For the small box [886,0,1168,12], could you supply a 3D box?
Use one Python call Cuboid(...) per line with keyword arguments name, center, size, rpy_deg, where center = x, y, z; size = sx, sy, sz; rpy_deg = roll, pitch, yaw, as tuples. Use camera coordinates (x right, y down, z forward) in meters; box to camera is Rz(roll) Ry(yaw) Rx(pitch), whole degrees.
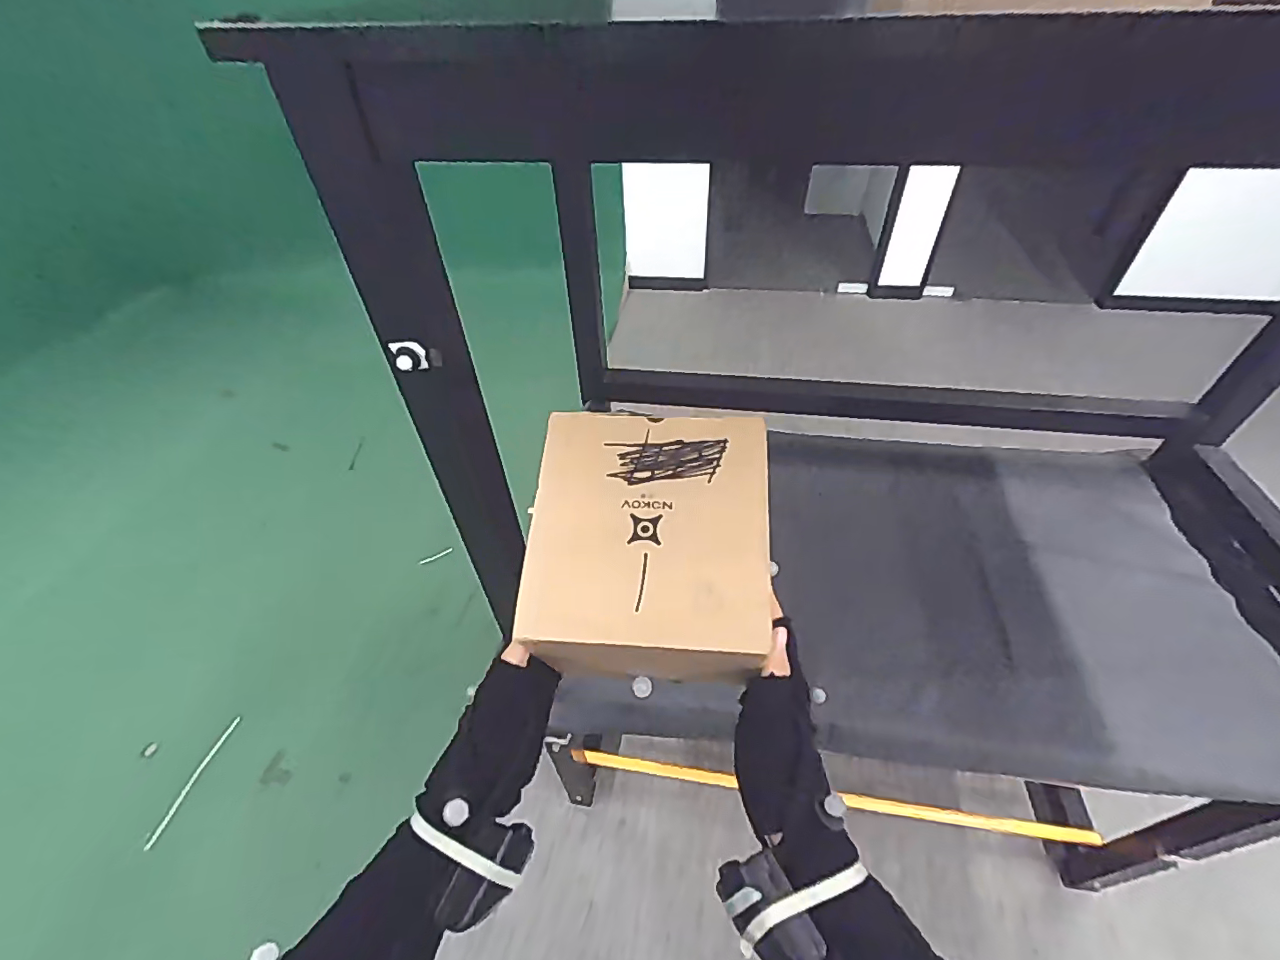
Cuboid(name="small box", center=(0.252, -0.396, 0.324), size=(0.168, 0.176, 0.179), rpy_deg=(6, 45, 8))
